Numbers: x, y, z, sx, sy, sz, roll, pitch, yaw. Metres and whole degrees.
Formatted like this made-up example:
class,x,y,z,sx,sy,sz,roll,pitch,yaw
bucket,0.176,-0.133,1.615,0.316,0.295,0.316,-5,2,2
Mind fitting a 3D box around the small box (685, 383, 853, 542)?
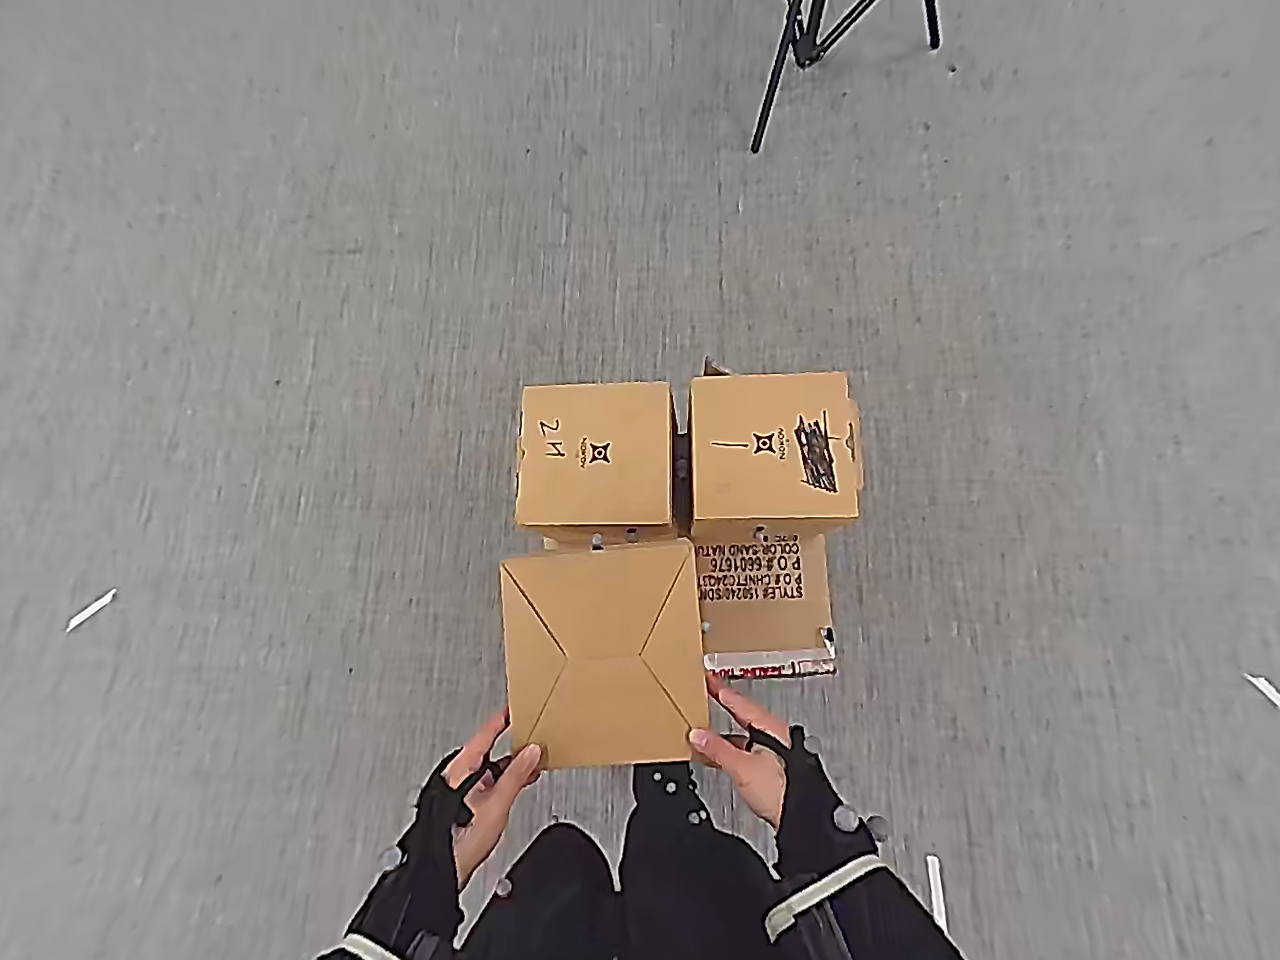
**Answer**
class,x,y,z,sx,sy,sz,roll,pitch,yaw
small box,0.147,-0.014,0.677,0.179,0.176,0.168,-1,78,4
